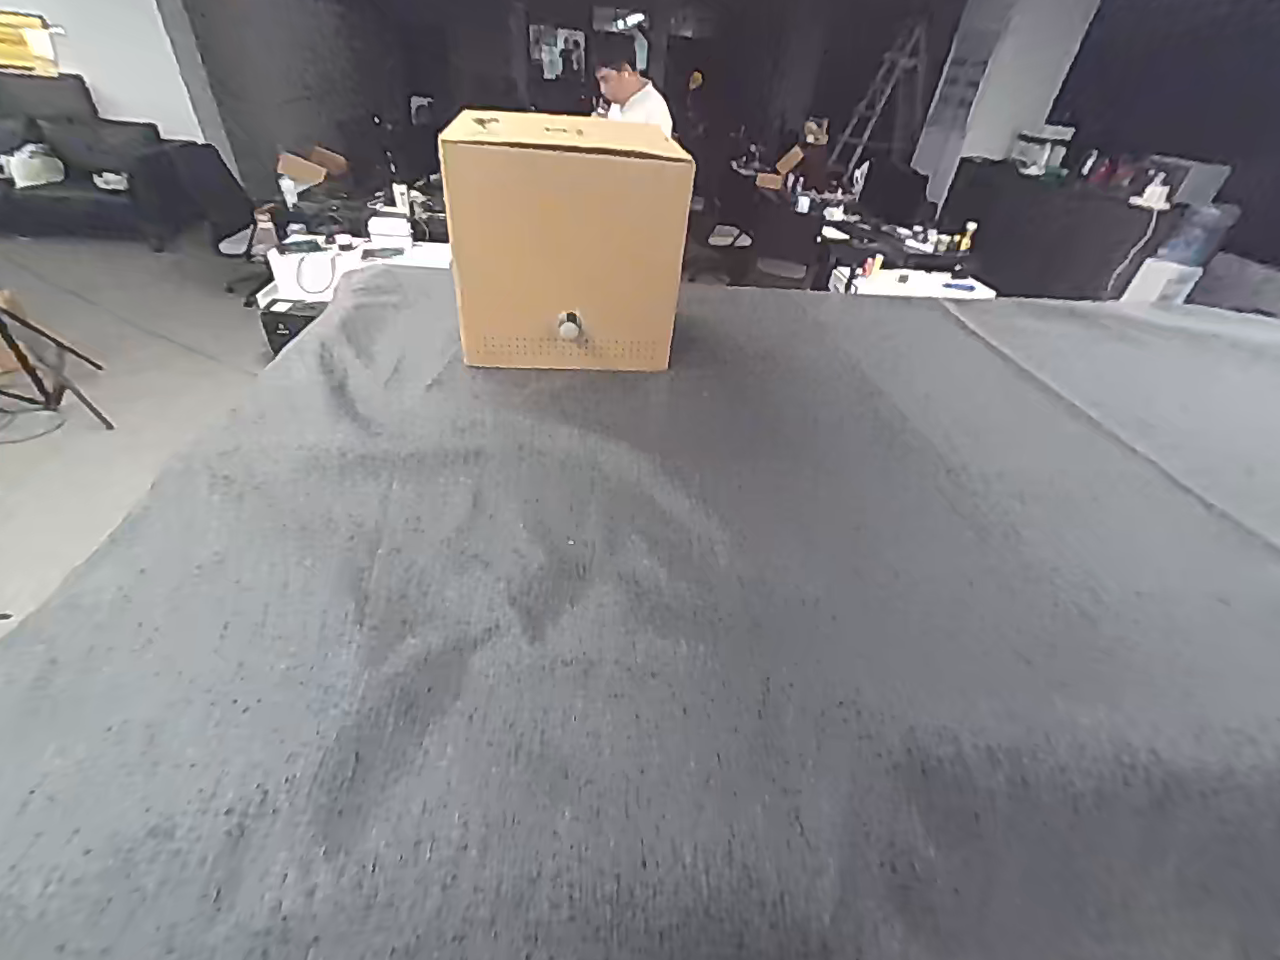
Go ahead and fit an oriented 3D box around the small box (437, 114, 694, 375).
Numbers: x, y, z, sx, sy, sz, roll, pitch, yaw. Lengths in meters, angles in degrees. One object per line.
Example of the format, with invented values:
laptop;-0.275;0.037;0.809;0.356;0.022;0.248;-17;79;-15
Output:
small box;-0.065;-0.203;0.475;0.179;0.176;0.168;0;39;-9
